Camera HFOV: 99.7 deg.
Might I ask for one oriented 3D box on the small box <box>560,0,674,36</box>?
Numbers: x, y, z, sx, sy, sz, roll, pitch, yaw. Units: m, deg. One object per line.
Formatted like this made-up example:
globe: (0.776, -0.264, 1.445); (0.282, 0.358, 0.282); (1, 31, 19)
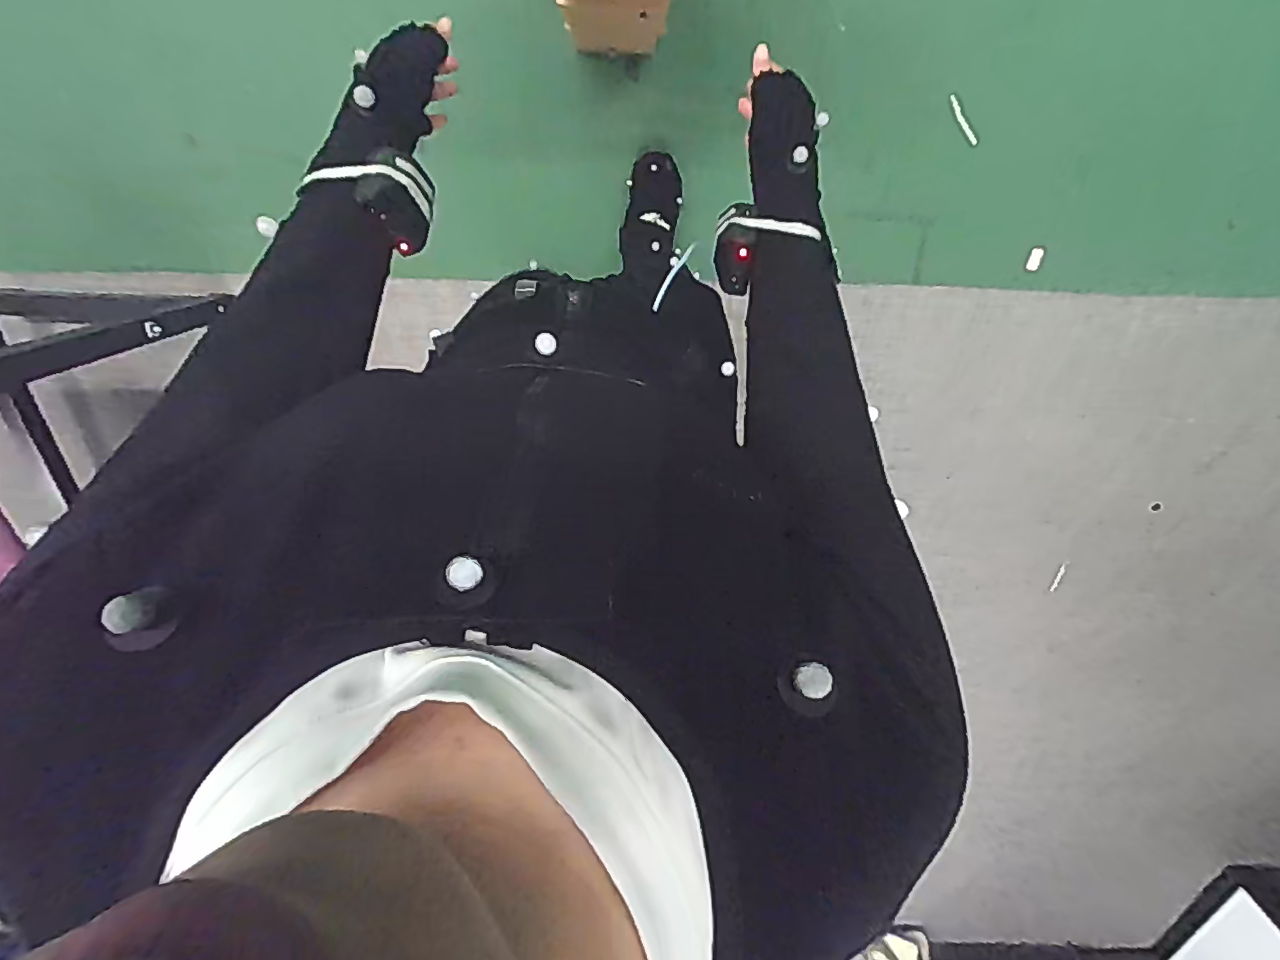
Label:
small box: (-0.032, -0.831, 0.861); (0.179, 0.176, 0.168); (1, 118, -1)
